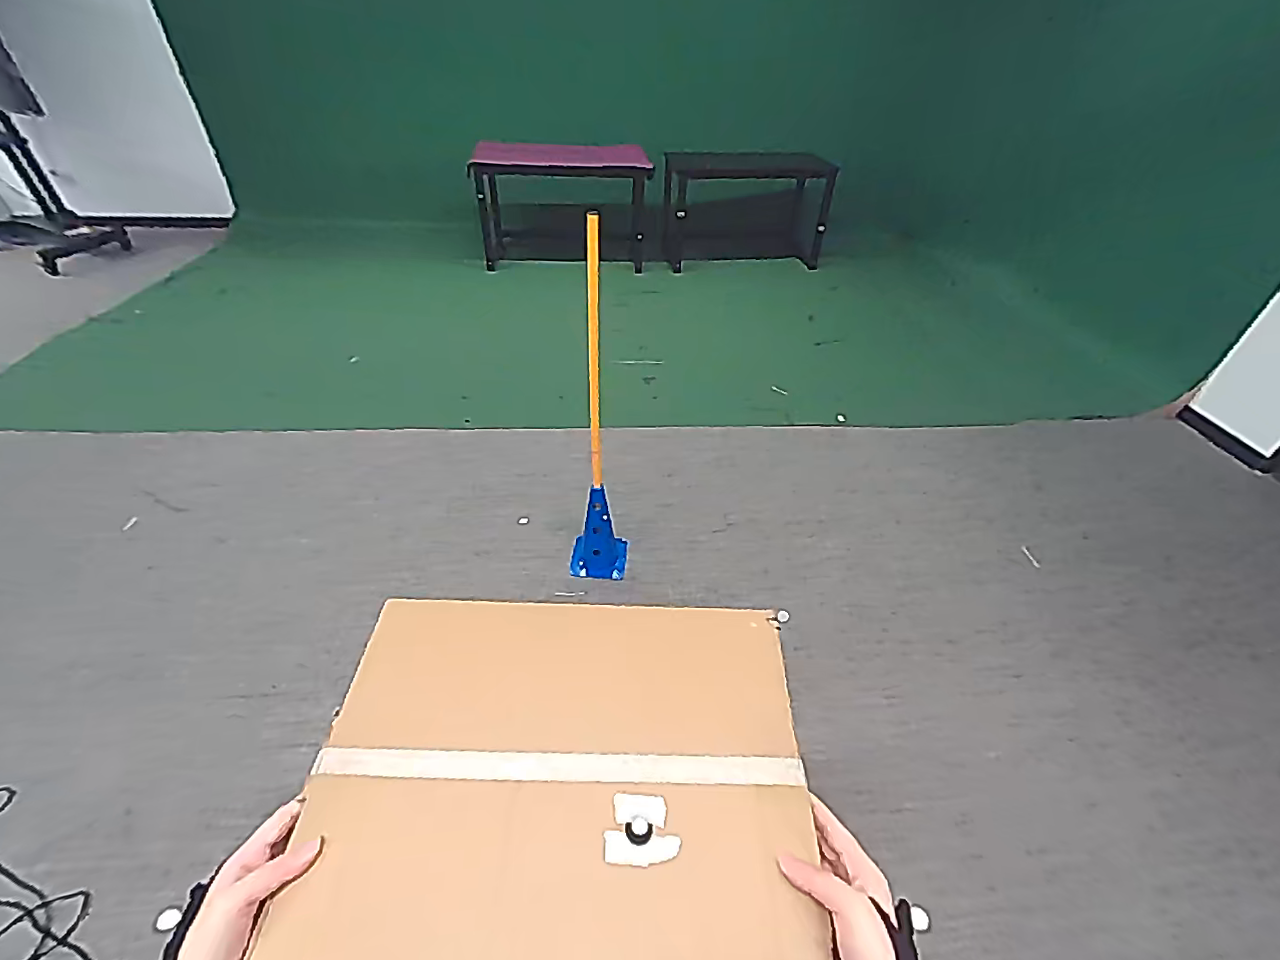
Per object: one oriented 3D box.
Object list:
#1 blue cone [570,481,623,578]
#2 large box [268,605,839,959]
[{"bbox_3d":[-0.155,0.164,1.918,0.193,0.380,0.192,5,40,3],"label":"blue cone"},{"bbox_3d":[-0.064,0.351,0.569,0.408,0.320,0.320,2,46,-1],"label":"large box"}]
